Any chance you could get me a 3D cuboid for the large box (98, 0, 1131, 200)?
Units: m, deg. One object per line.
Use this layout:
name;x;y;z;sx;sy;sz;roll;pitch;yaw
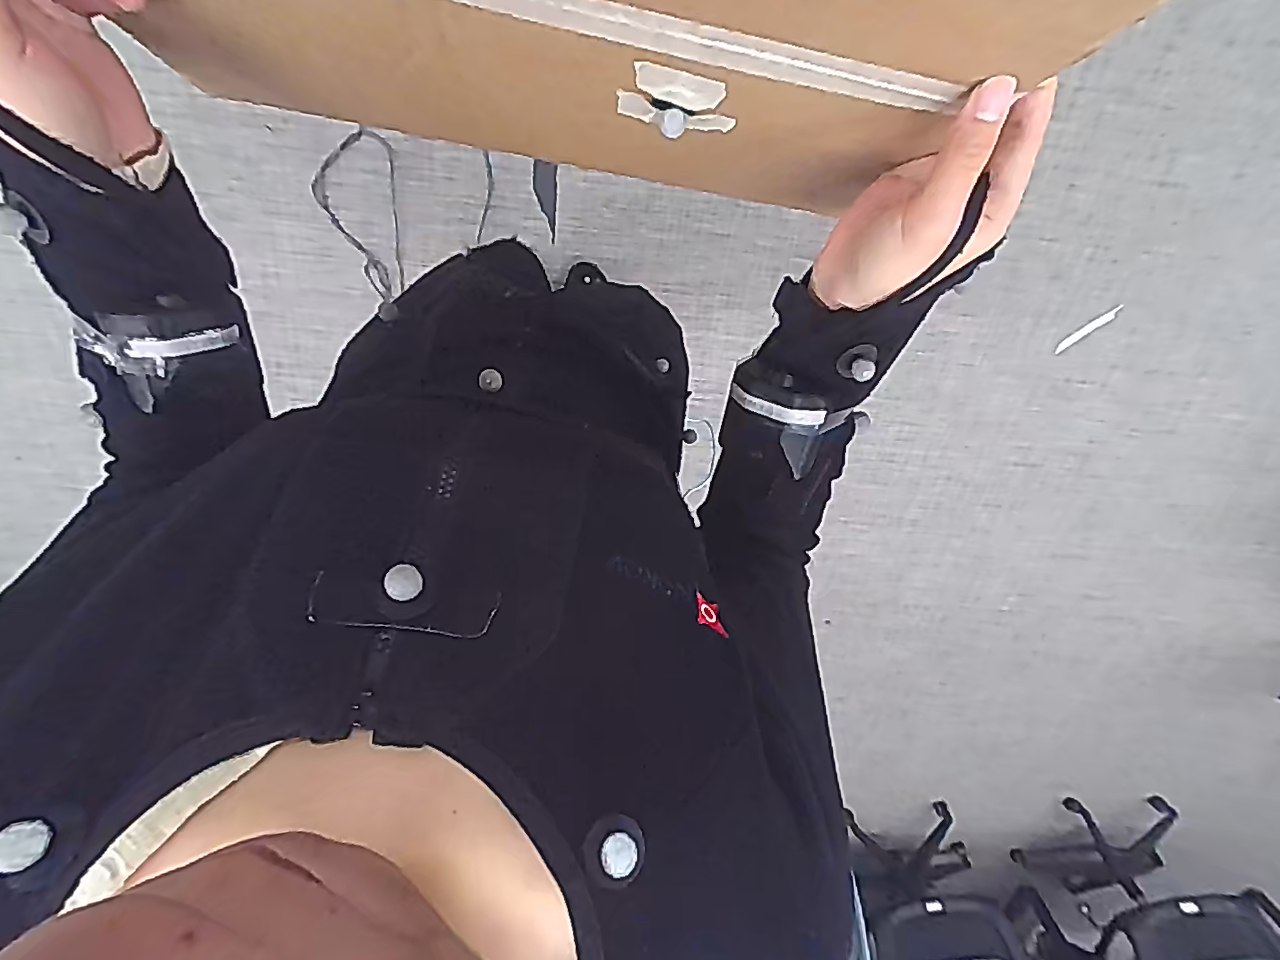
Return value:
large box;-0.025;-0.336;0.181;0.408;0.320;0.320;6;100;-7
